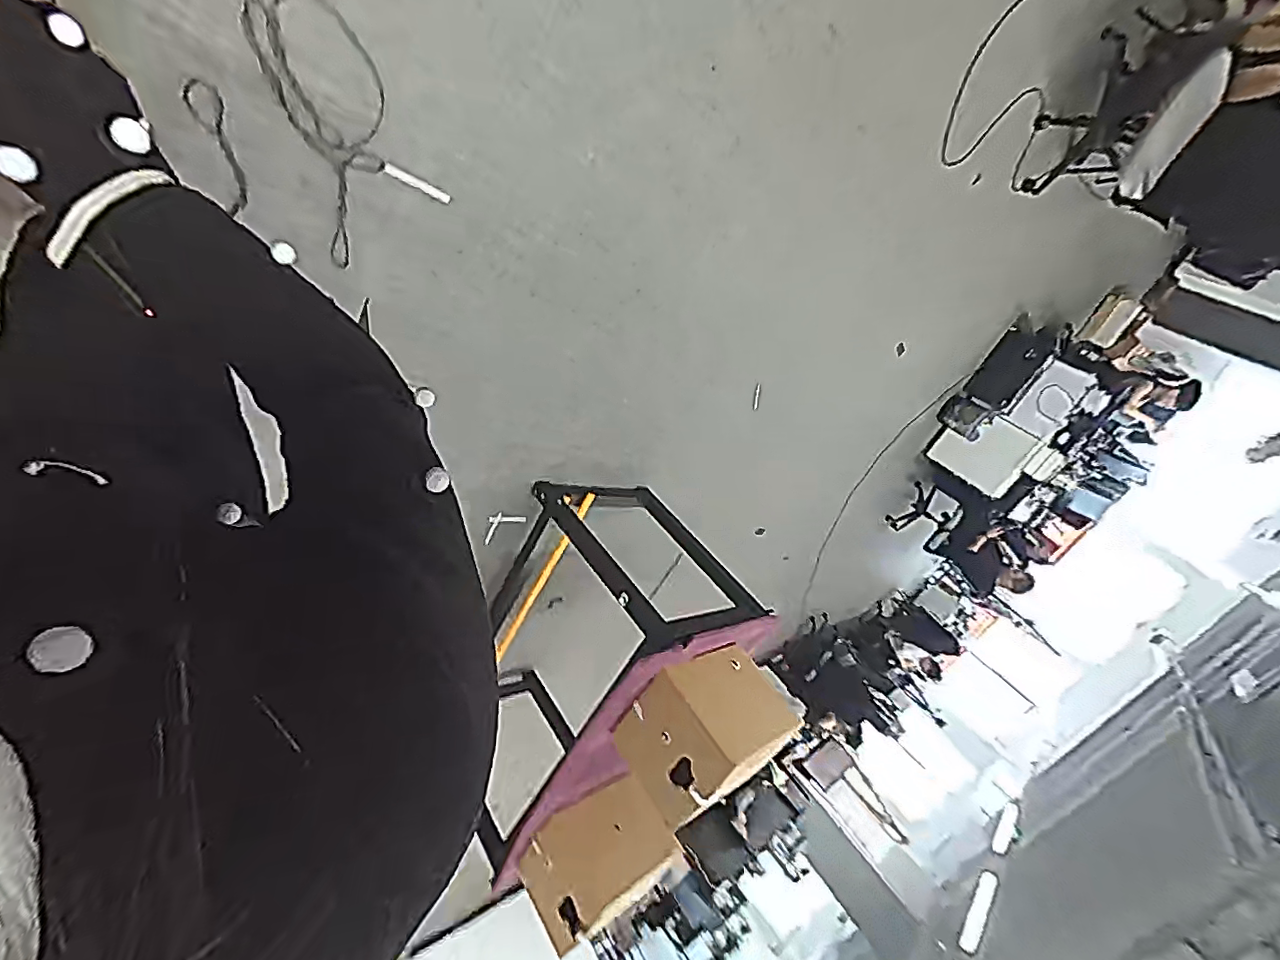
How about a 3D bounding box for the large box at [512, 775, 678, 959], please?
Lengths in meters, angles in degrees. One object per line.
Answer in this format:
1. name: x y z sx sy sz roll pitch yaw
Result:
1. large box: -0.155 1.303 1.853 0.408 0.320 0.320 4 124 -51
